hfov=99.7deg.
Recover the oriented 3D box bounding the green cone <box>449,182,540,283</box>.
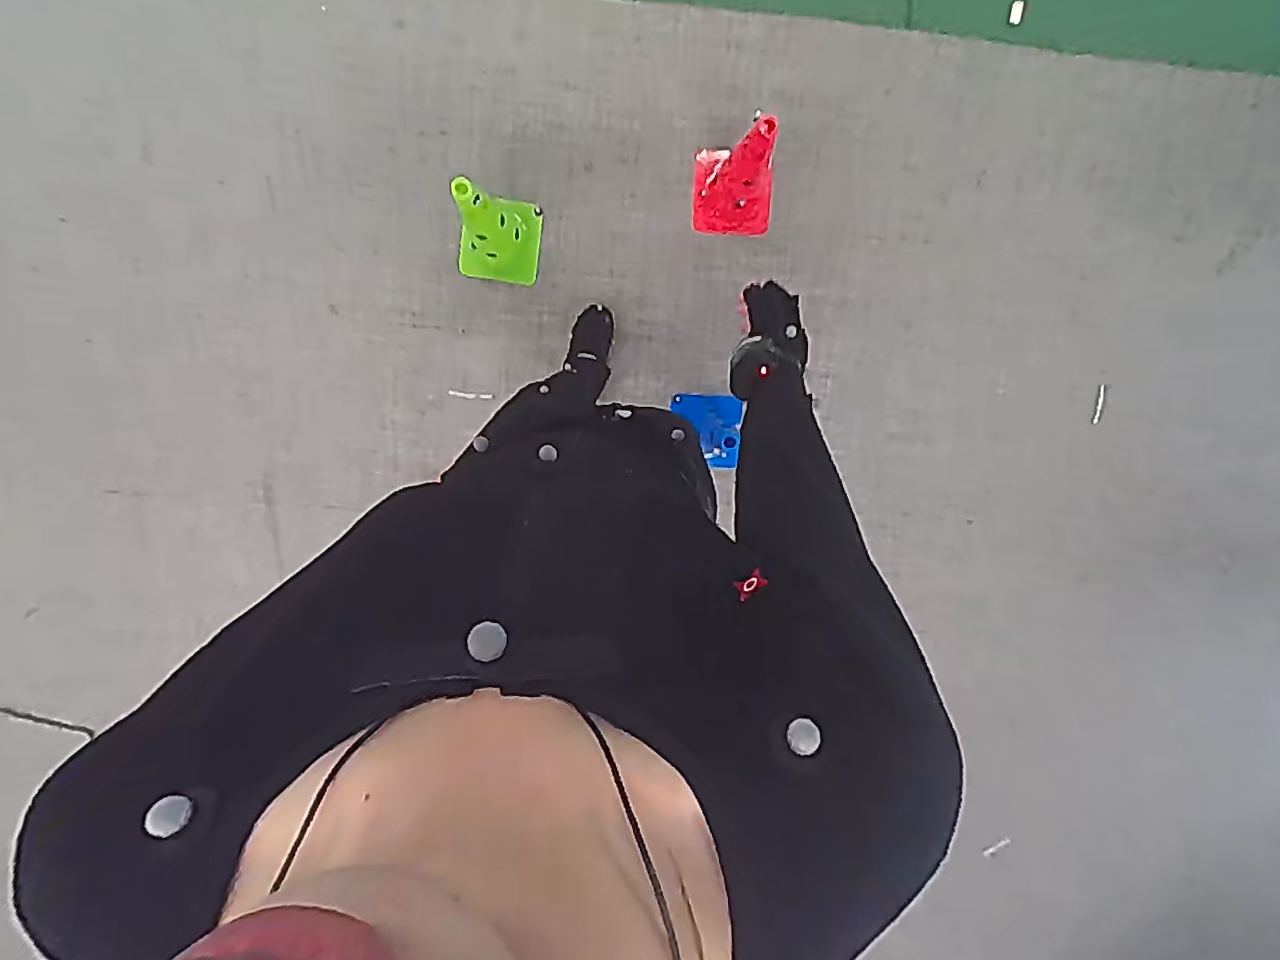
[{"bbox_3d":[-0.358,-0.590,1.217,0.200,0.368,0.202,6,99,-3],"label":"green cone"}]
